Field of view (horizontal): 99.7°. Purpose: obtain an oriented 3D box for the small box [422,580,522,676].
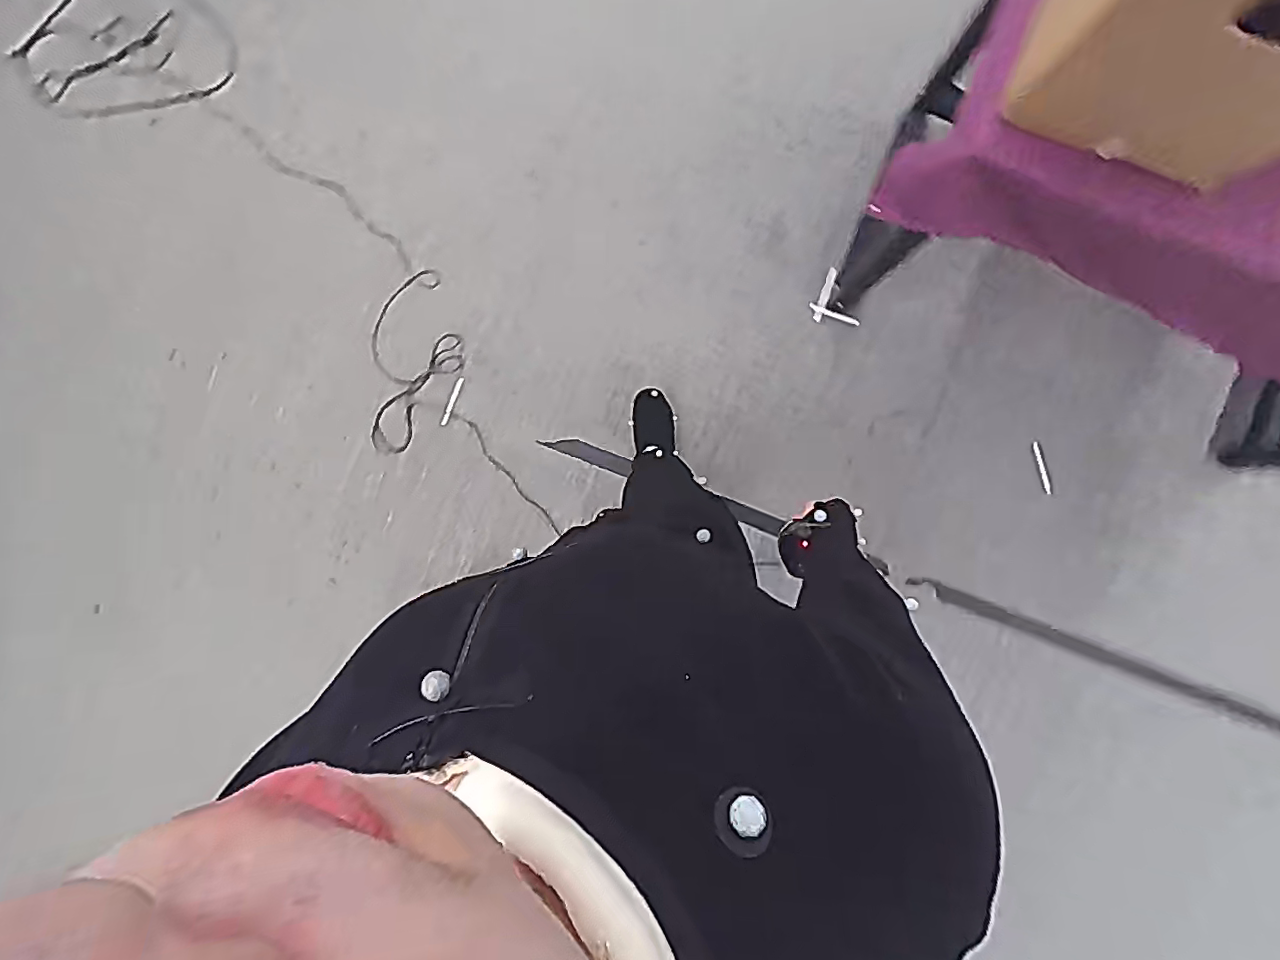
[{"bbox_3d":[-0.439,0.384,1.444,0.179,0.176,0.168,26,92,2],"label":"small box"}]
